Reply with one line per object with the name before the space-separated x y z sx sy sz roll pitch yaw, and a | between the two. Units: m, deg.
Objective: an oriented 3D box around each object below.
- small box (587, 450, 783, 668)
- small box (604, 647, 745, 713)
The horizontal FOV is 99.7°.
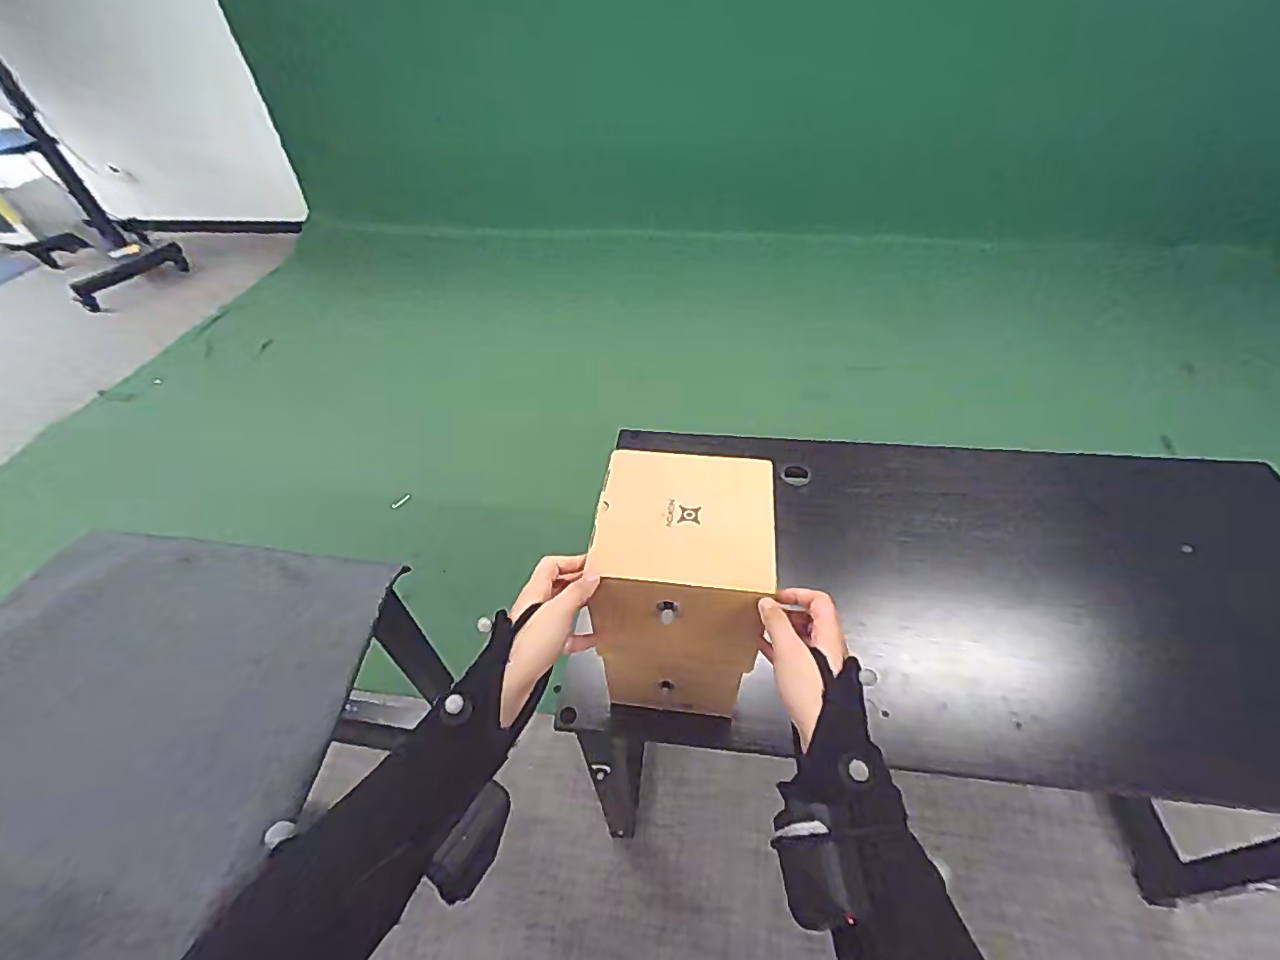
small box | 0.051 0.089 0.588 0.179 0.176 0.168 4 48 7
small box | 0.053 0.189 0.718 0.168 0.176 0.179 5 46 6
